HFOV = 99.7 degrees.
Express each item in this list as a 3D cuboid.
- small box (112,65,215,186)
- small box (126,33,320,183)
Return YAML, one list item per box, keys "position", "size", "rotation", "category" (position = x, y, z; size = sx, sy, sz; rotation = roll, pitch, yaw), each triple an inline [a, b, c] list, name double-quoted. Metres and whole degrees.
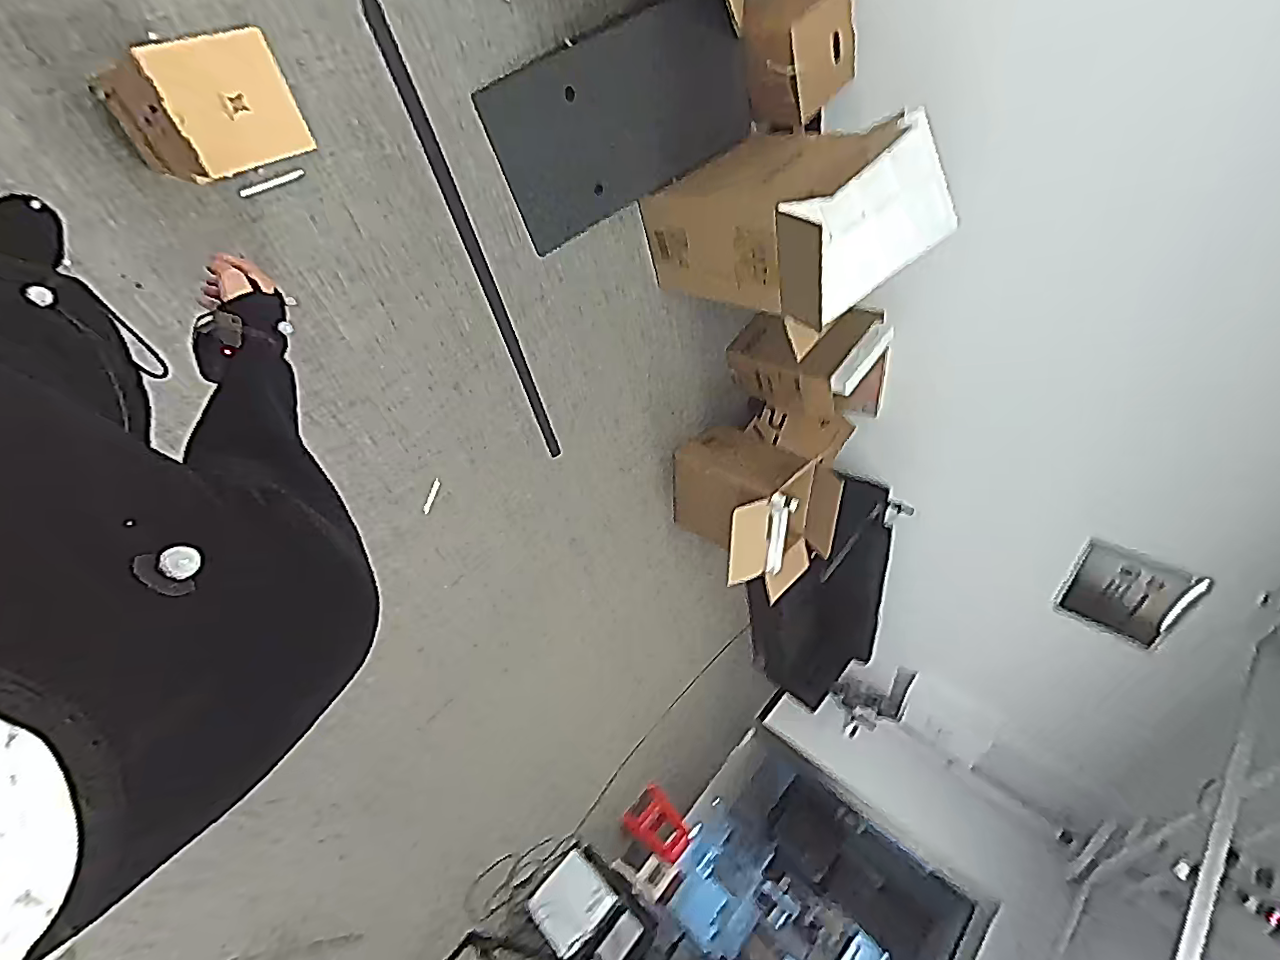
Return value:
- position: [-0.790, -0.654, 0.975]
  size: [0.168, 0.176, 0.179]
  rotation: [-42, 141, -25]
  category: "small box"
- position: [-0.672, -0.603, 0.876]
  size: [0.179, 0.176, 0.168]
  rotation: [-39, 139, -26]
  category: "small box"
